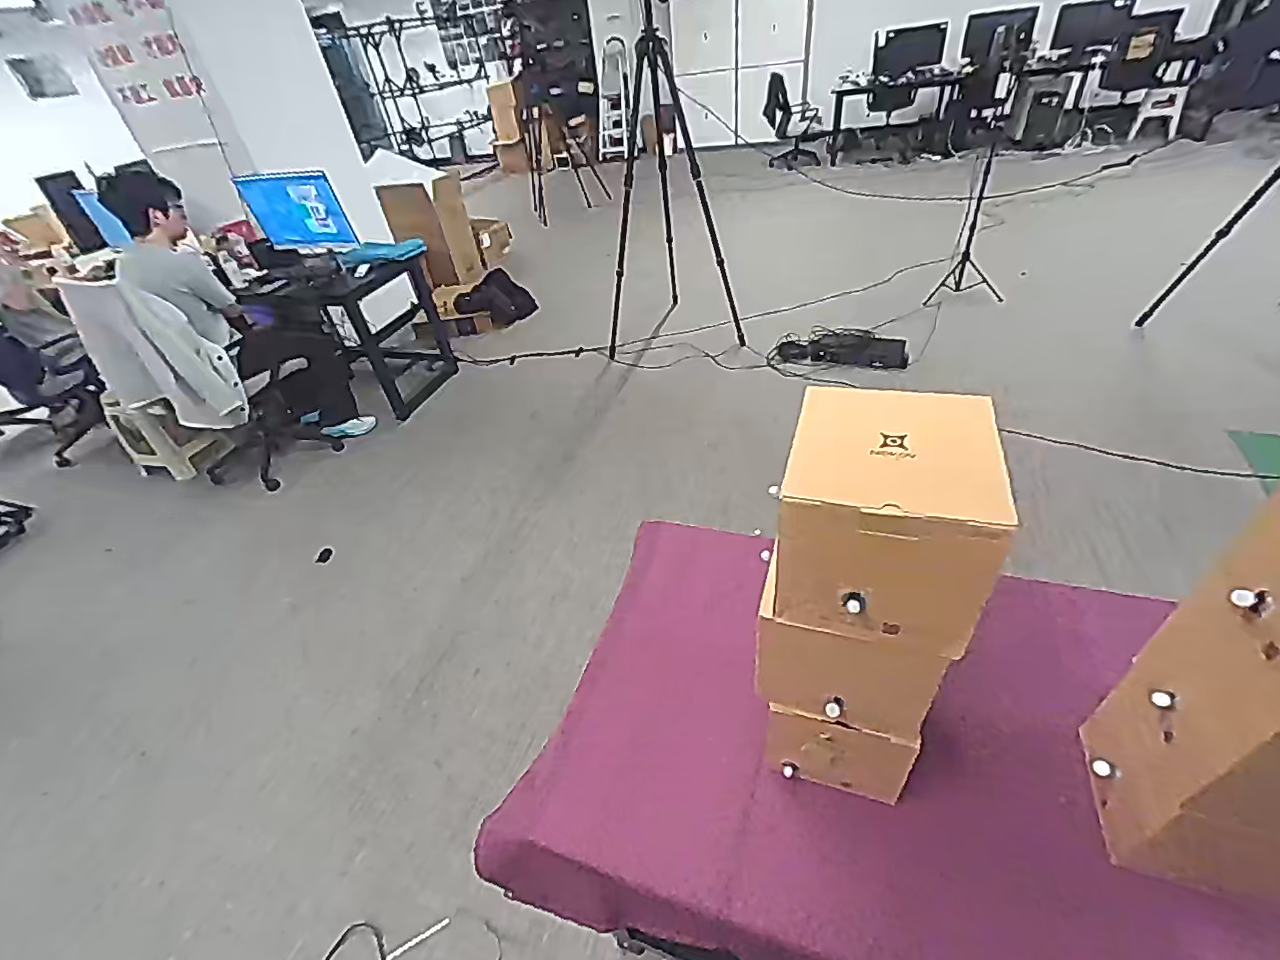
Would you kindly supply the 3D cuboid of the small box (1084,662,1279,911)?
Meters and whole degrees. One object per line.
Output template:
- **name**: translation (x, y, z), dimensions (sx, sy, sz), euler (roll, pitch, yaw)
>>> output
- **small box**: translation (0.635, 0.333, 0.589), dimensions (0.179, 0.176, 0.168), euler (8, 42, 20)

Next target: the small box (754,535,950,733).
- **small box**: translation (0.235, 0.160, 0.620), dimensions (0.179, 0.176, 0.168), euler (9, 42, 20)

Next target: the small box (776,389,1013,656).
- **small box**: translation (0.226, 0.034, 0.517), dimensions (0.168, 0.176, 0.179), euler (7, 43, 19)

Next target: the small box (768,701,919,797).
- **small box**: translation (0.267, 0.287, 0.721), dimensions (0.168, 0.176, 0.179), euler (8, 41, 19)
